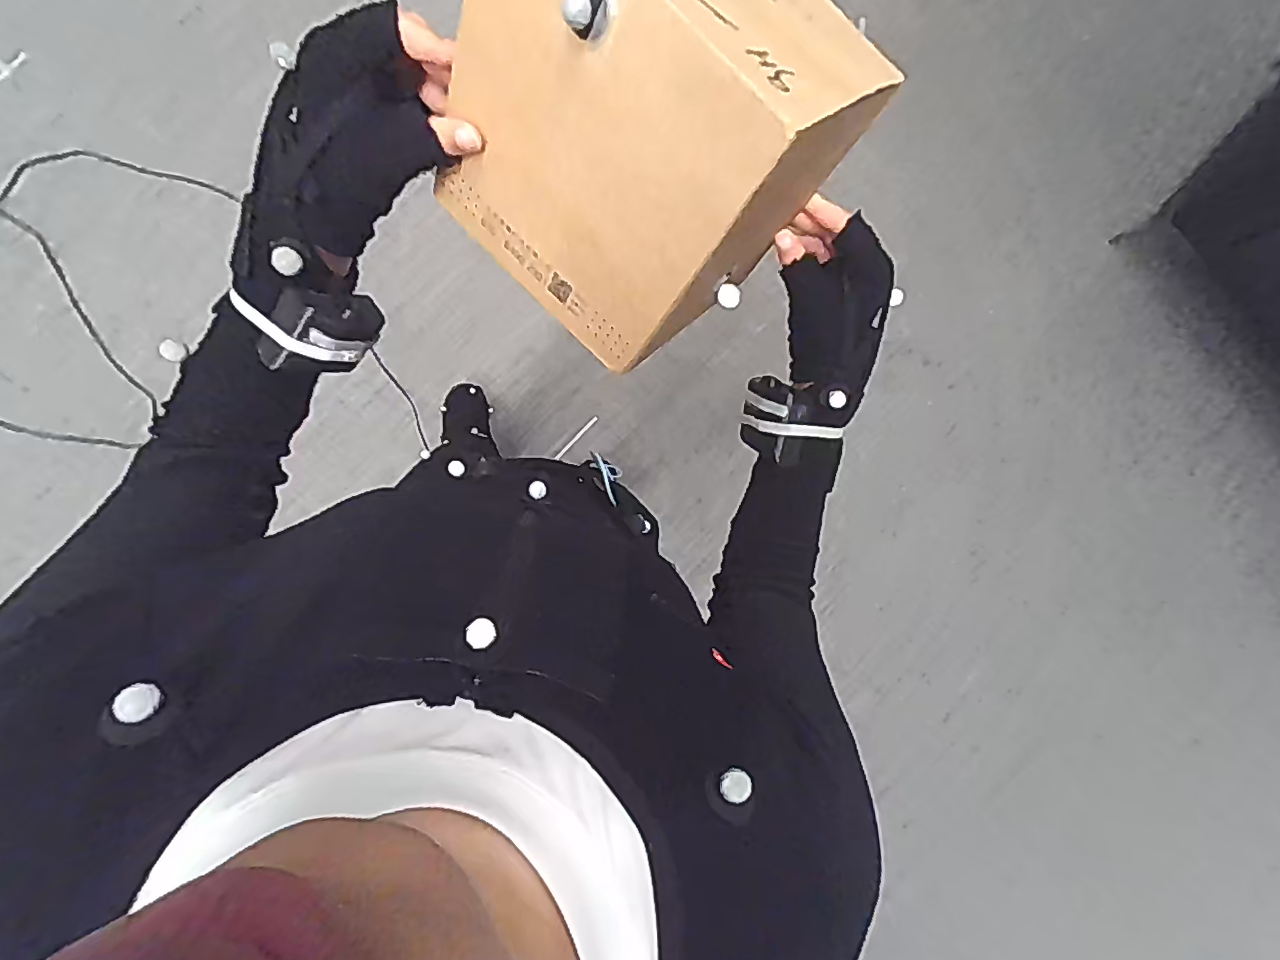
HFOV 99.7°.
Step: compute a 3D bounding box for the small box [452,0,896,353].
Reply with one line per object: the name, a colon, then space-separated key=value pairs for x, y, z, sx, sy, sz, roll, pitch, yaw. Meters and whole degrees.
small box: x=0.012 y=-0.213 z=0.328 sx=0.168 sy=0.176 sz=0.179 roll=44 pitch=52 yaw=-1
